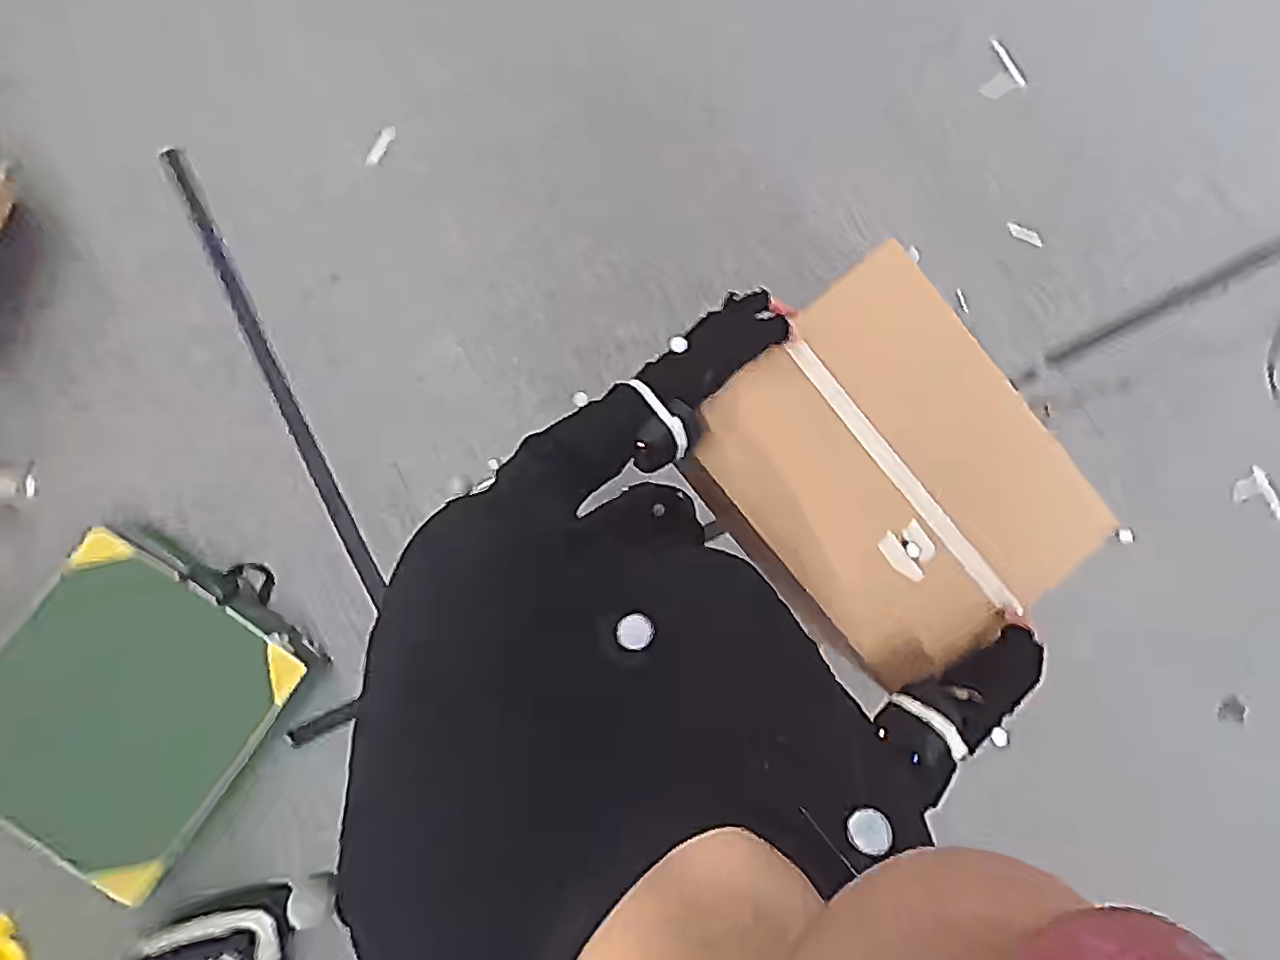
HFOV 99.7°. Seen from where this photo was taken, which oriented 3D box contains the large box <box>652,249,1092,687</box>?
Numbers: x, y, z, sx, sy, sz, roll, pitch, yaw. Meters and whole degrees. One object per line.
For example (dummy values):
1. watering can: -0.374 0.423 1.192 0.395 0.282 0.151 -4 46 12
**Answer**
1. large box: 0.264 -0.016 0.748 0.320 0.320 0.408 -39 93 0
